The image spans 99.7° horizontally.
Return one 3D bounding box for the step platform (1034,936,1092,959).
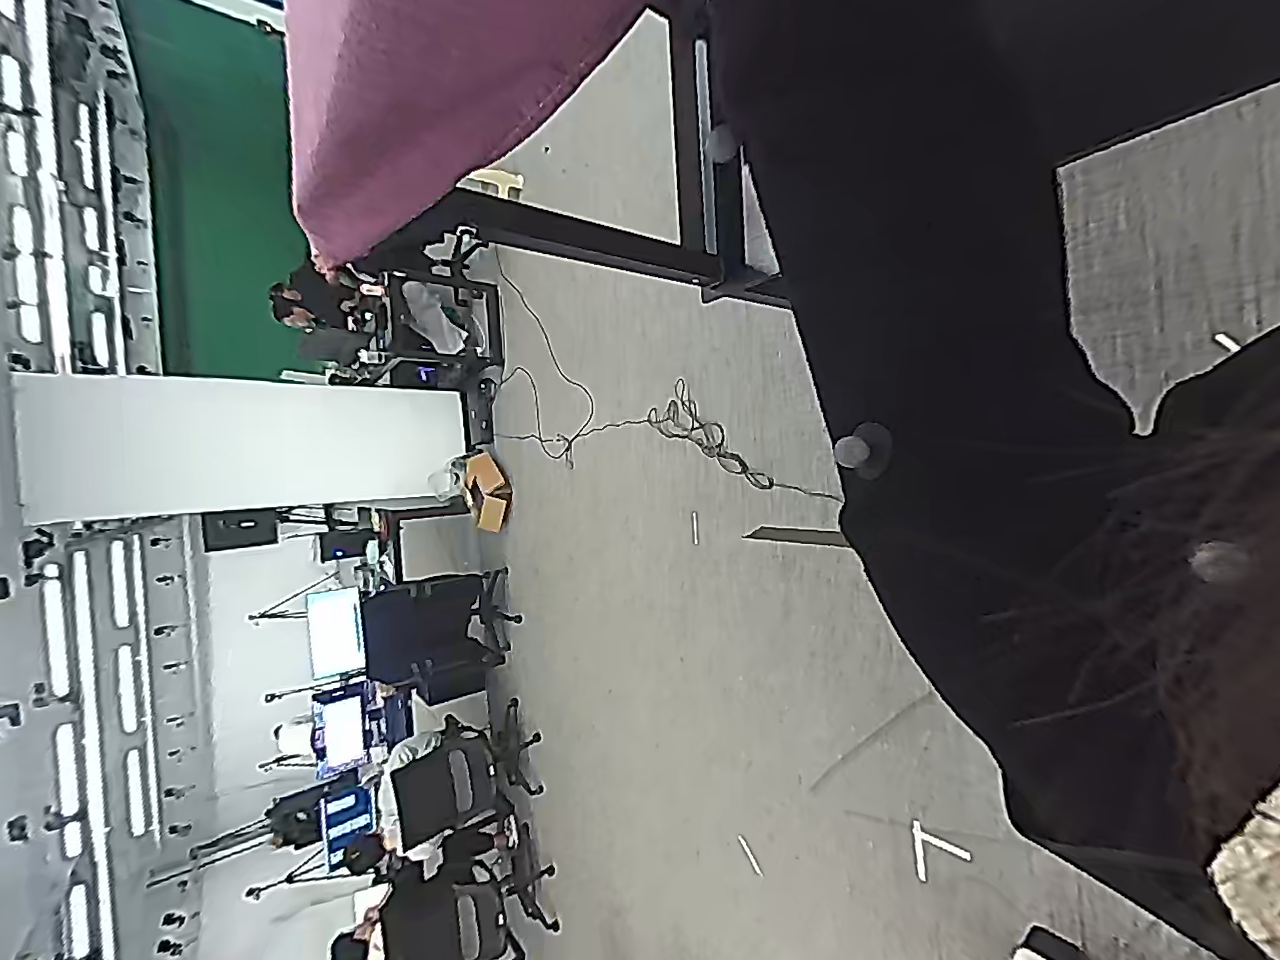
[{"bbox_3d":[1.123,1.273,1.023,0.684,0.204,0.286,8,99,52],"label":"step platform"}]
